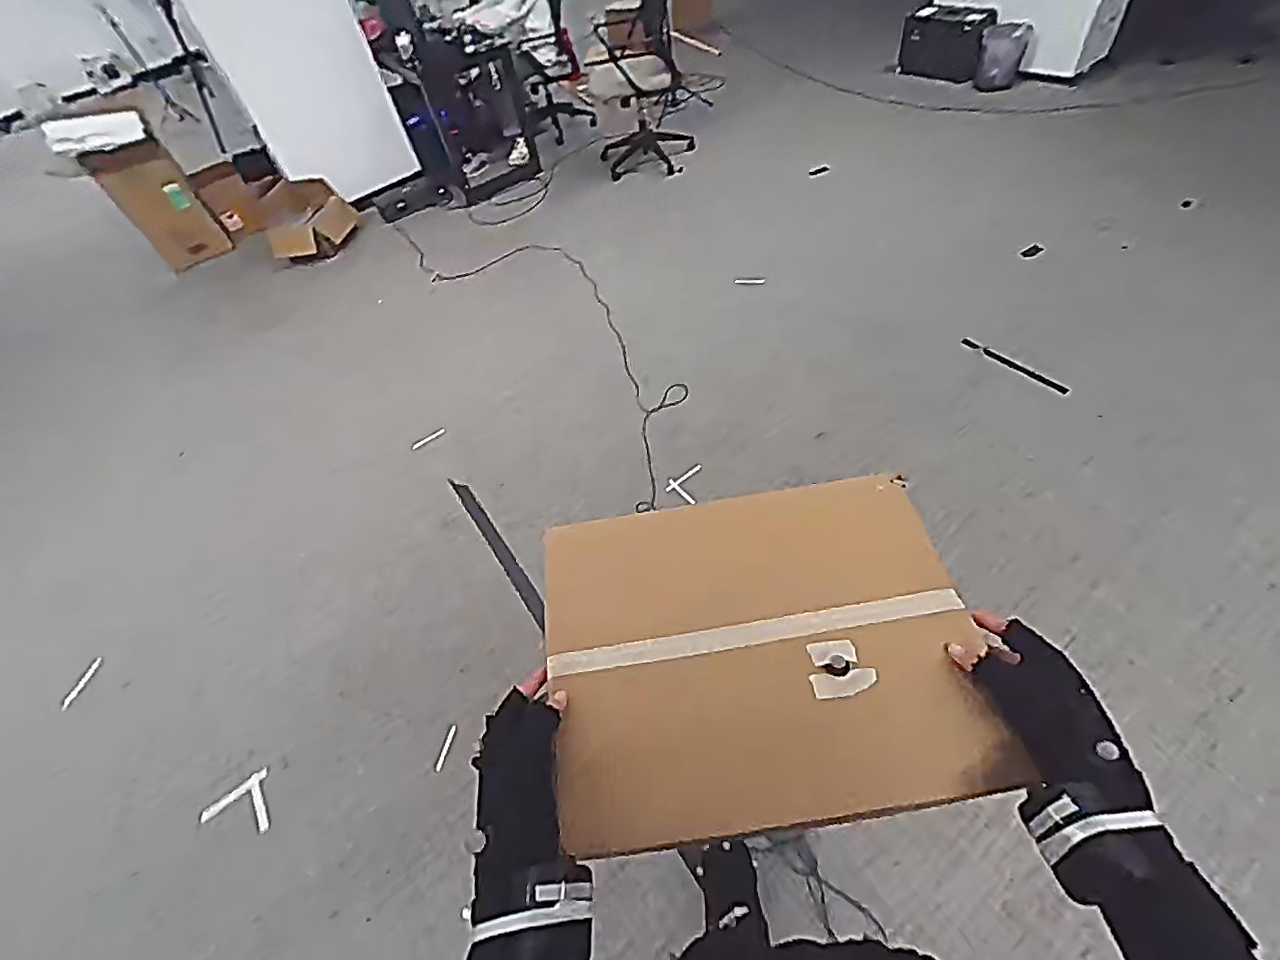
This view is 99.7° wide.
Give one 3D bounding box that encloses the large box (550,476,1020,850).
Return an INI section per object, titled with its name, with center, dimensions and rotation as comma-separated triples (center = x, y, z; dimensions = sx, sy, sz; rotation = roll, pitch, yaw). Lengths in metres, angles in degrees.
[large box]
center = 0.123, 0.236, 0.663
dimensions = 0.408, 0.320, 0.320
rotation = -9, 55, 1
